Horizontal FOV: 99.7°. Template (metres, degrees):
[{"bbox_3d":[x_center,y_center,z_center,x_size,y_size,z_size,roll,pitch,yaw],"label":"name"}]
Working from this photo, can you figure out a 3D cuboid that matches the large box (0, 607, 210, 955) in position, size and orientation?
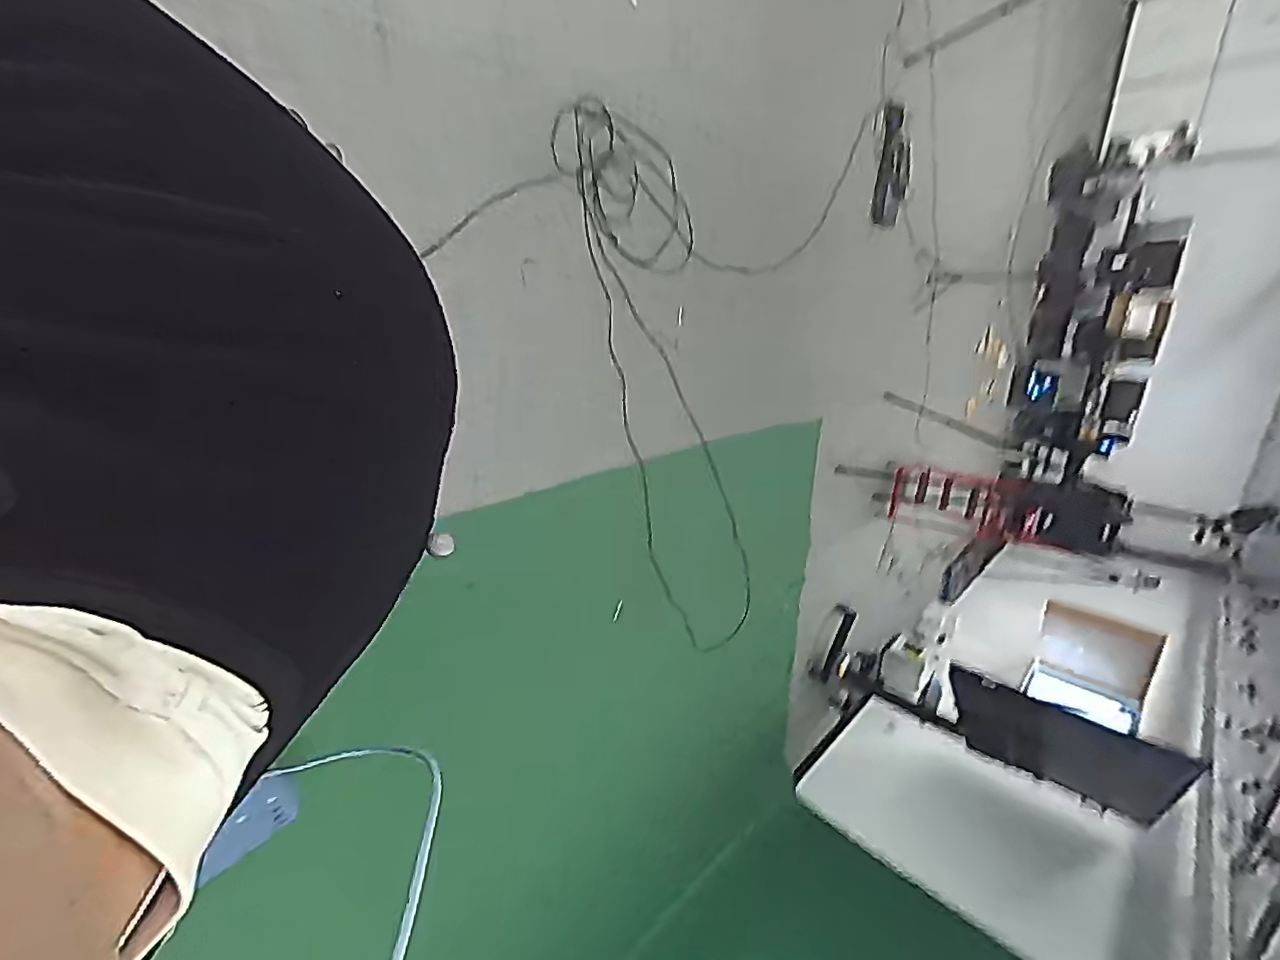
[{"bbox_3d":[-1.088,0.518,0.989,0.320,0.320,0.408,-28,124,-37],"label":"large box"}]
